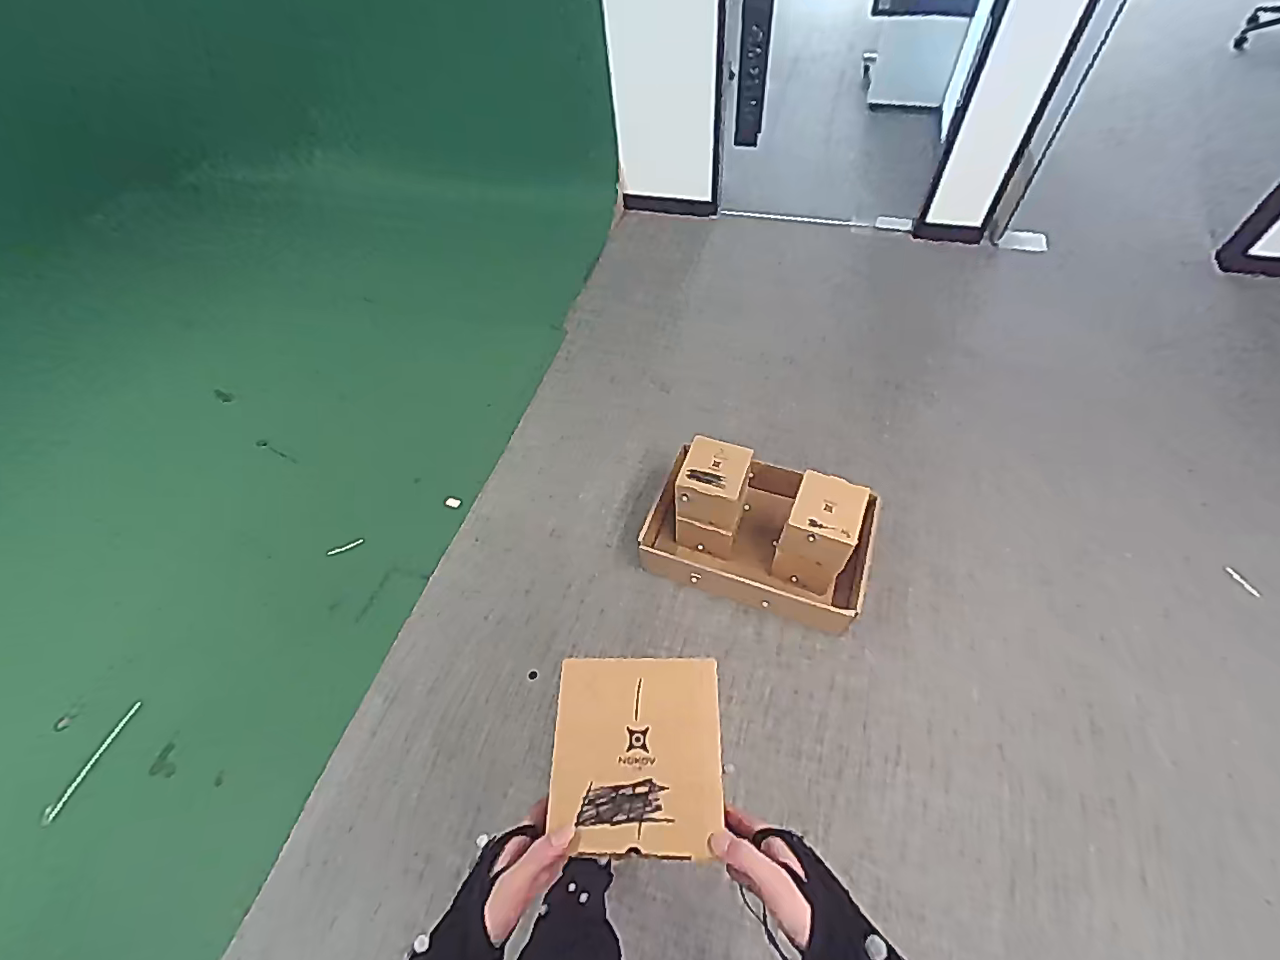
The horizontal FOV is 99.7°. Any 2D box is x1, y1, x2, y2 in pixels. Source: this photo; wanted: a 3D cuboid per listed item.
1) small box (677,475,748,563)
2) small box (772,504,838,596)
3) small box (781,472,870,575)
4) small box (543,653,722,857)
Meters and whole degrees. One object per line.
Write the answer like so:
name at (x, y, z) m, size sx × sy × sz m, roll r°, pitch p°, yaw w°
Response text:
small box at (0.215, 0.117, 1.617) m, size 0.168 × 0.176 × 0.179 m, roll 16°, pitch 58°, yaw 16°
small box at (0.482, 0.201, 1.538) m, size 0.168 × 0.176 × 0.179 m, roll 17°, pitch 60°, yaw 17°
small box at (0.474, 0.114, 1.398) m, size 0.168 × 0.176 × 0.179 m, roll 18°, pitch 59°, yaw 17°
small box at (0.004, 0.298, 0.591) m, size 0.168 × 0.176 × 0.179 m, roll -2°, pitch 57°, yaw 6°
